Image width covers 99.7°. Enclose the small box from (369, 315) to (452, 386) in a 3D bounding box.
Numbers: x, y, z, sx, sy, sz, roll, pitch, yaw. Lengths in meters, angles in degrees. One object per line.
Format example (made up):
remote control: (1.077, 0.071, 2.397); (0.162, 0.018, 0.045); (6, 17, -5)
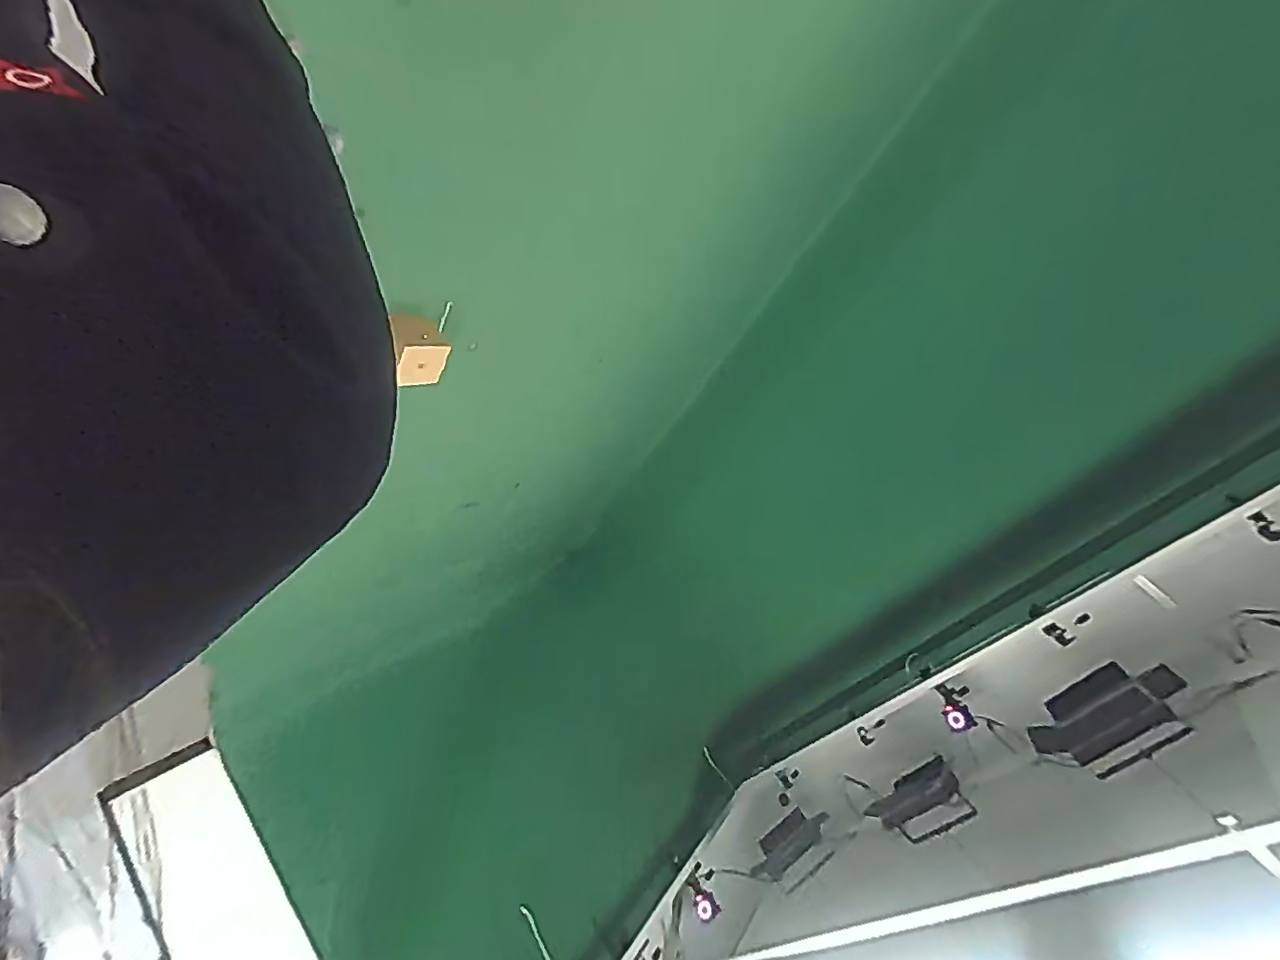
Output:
small box: (-0.776, -0.439, 1.826); (0.179, 0.176, 0.168); (-19, 151, -51)
